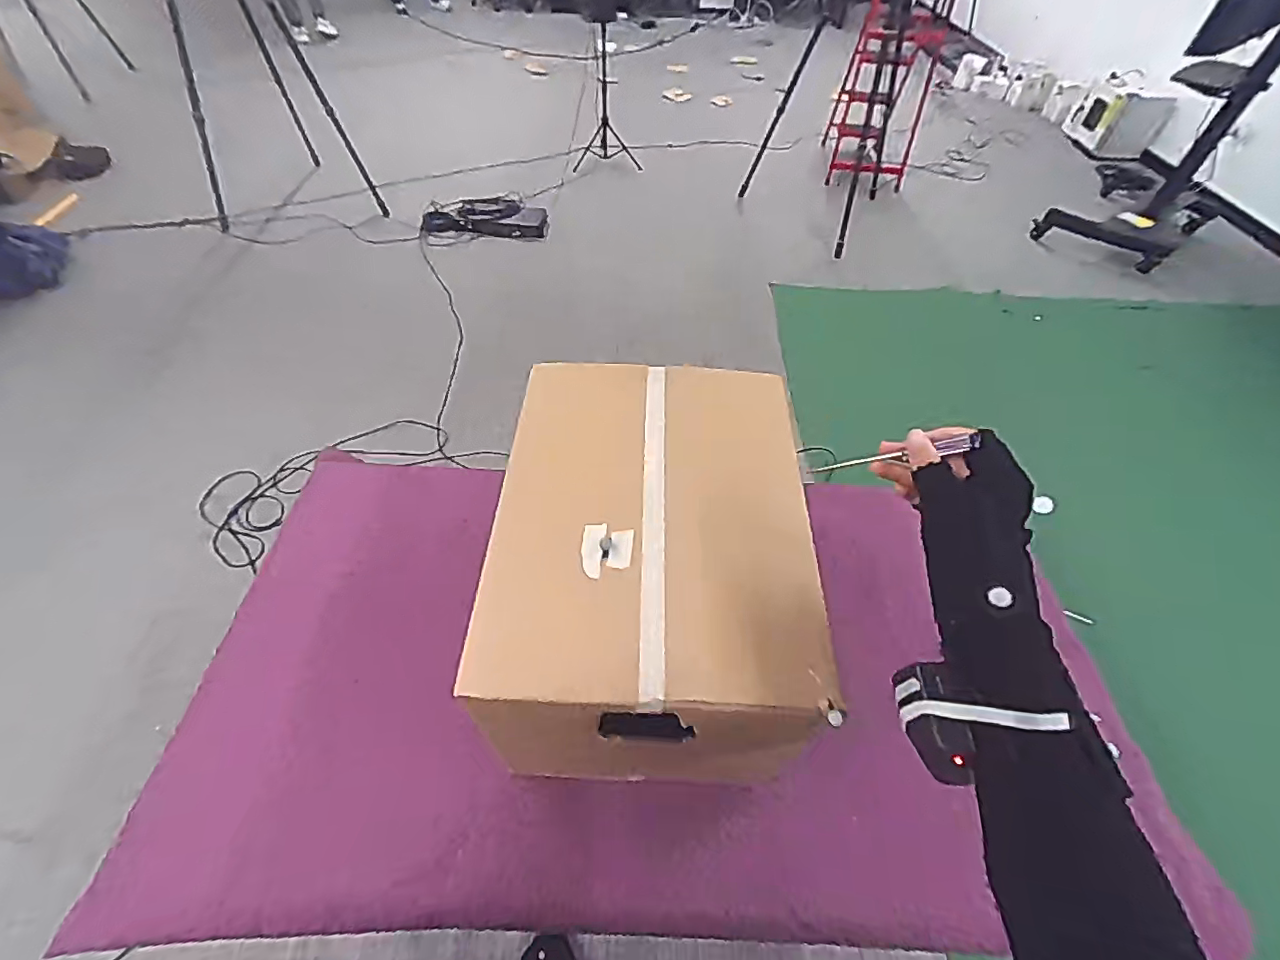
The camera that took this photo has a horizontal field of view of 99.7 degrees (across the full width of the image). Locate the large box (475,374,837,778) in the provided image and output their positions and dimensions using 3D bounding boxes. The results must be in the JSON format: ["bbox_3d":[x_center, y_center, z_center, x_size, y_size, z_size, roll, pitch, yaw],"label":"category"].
[{"bbox_3d":[0.011,0.121,0.686,0.320,0.320,0.408,3,52,0],"label":"large box"}]
